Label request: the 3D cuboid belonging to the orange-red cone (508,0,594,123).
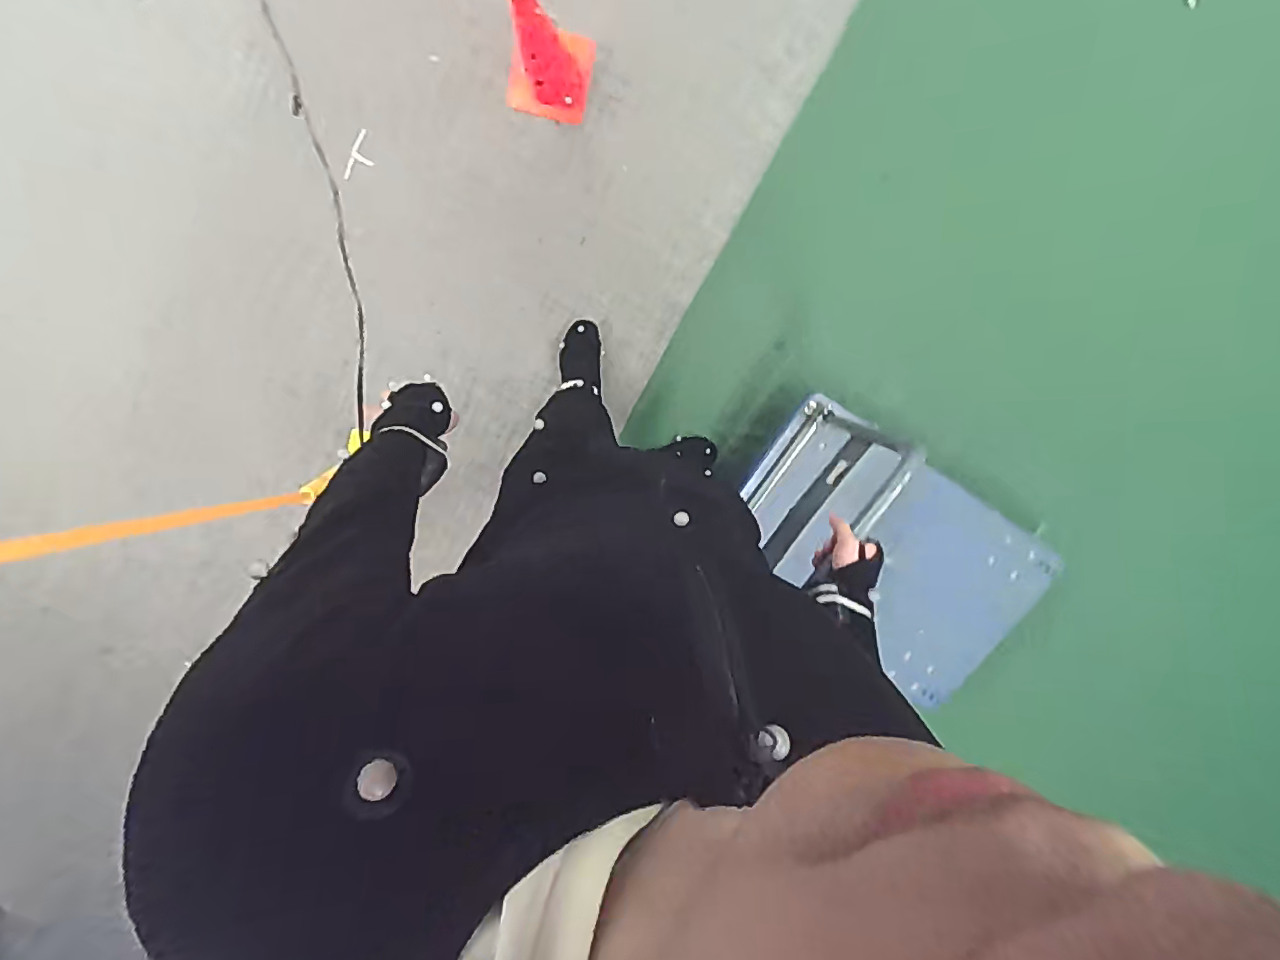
[{"bbox_3d":[-0.233,-1.009,1.219,0.198,0.360,0.199,15,102,-2],"label":"orange-red cone"}]
